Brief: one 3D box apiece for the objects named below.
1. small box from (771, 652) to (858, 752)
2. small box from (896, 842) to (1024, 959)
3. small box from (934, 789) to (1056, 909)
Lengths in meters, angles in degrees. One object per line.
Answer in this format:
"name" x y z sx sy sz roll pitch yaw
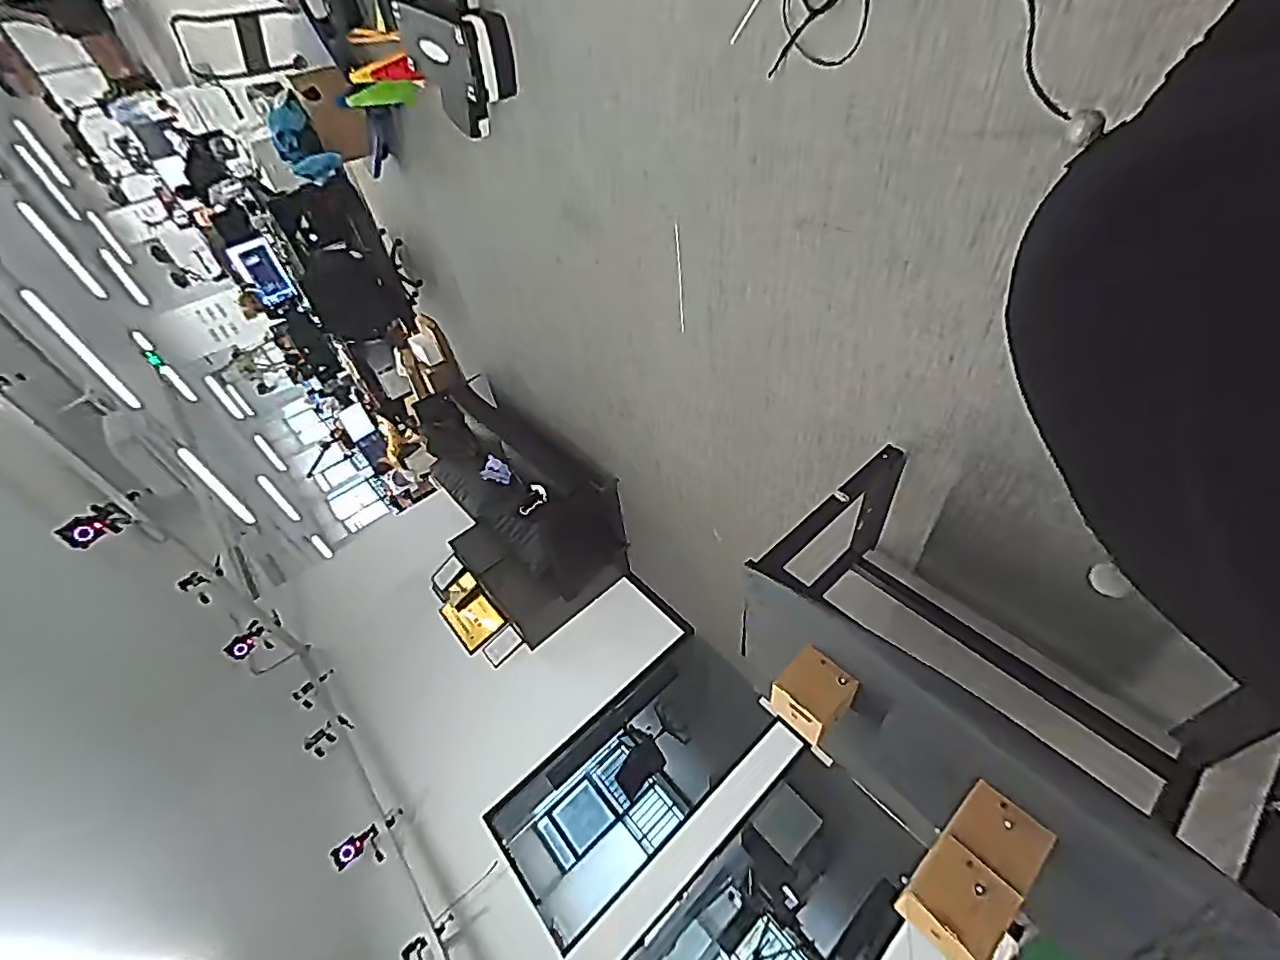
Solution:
"small box" 0.500 0.631 1.552 0.168 0.176 0.179 37 151 36
"small box" 0.698 0.944 1.185 0.168 0.176 0.179 35 149 38
"small box" 0.822 0.866 1.256 0.168 0.176 0.179 34 148 39
